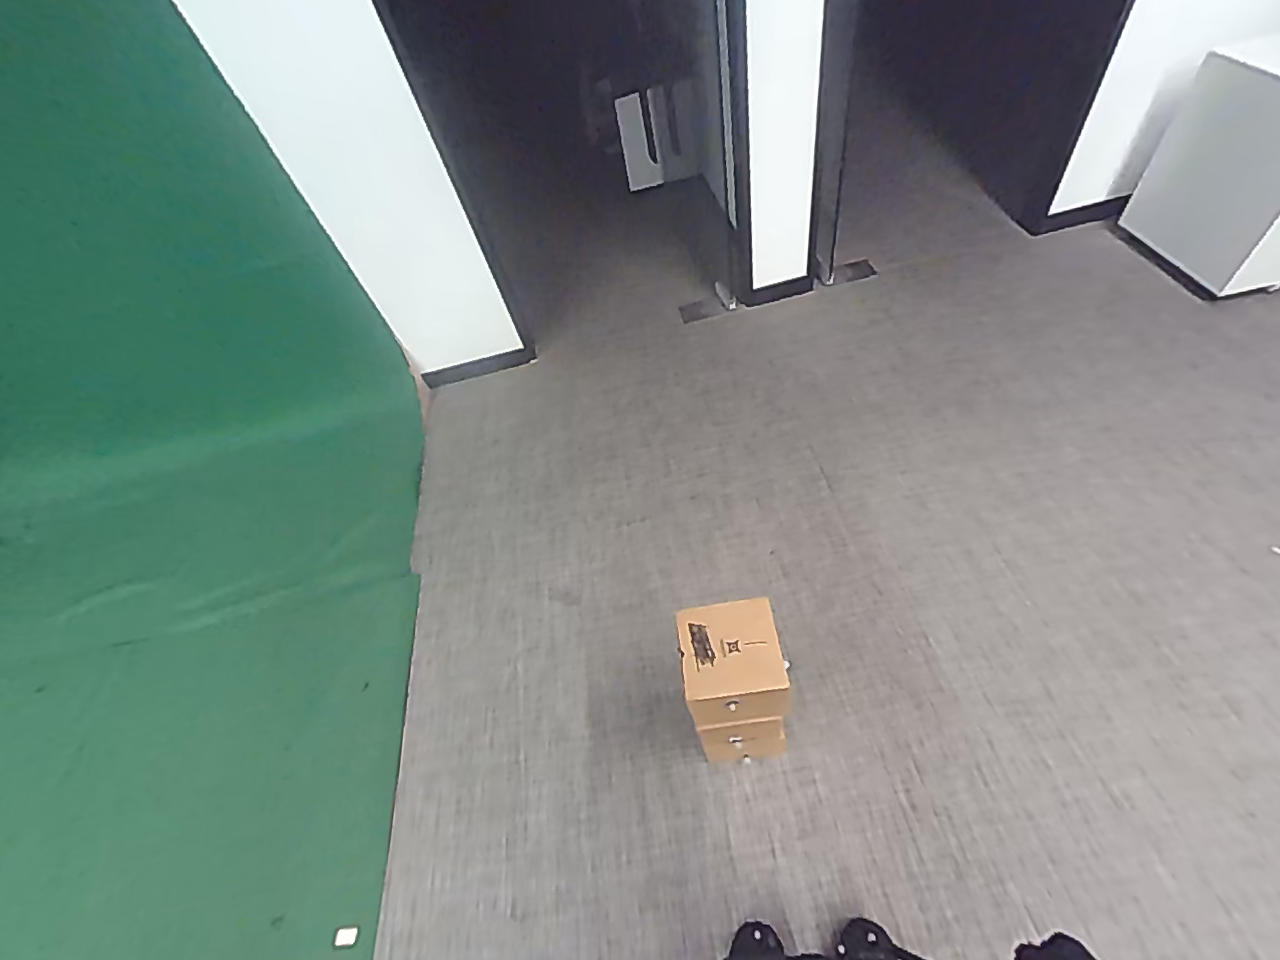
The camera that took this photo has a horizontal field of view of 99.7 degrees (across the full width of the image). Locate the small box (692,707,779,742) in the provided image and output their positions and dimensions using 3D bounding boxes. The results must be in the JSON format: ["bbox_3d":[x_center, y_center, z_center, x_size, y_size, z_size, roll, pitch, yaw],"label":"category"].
[{"bbox_3d":[0.193,0.435,1.144,0.168,0.176,0.179,-12,52,7],"label":"small box"}]

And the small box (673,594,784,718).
[{"bbox_3d":[0.168,0.335,1.015,0.179,0.176,0.168,-10,52,6],"label":"small box"}]

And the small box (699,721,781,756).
[{"bbox_3d":[0.224,0.536,1.267,0.179,0.176,0.168,-9,51,6],"label":"small box"}]
